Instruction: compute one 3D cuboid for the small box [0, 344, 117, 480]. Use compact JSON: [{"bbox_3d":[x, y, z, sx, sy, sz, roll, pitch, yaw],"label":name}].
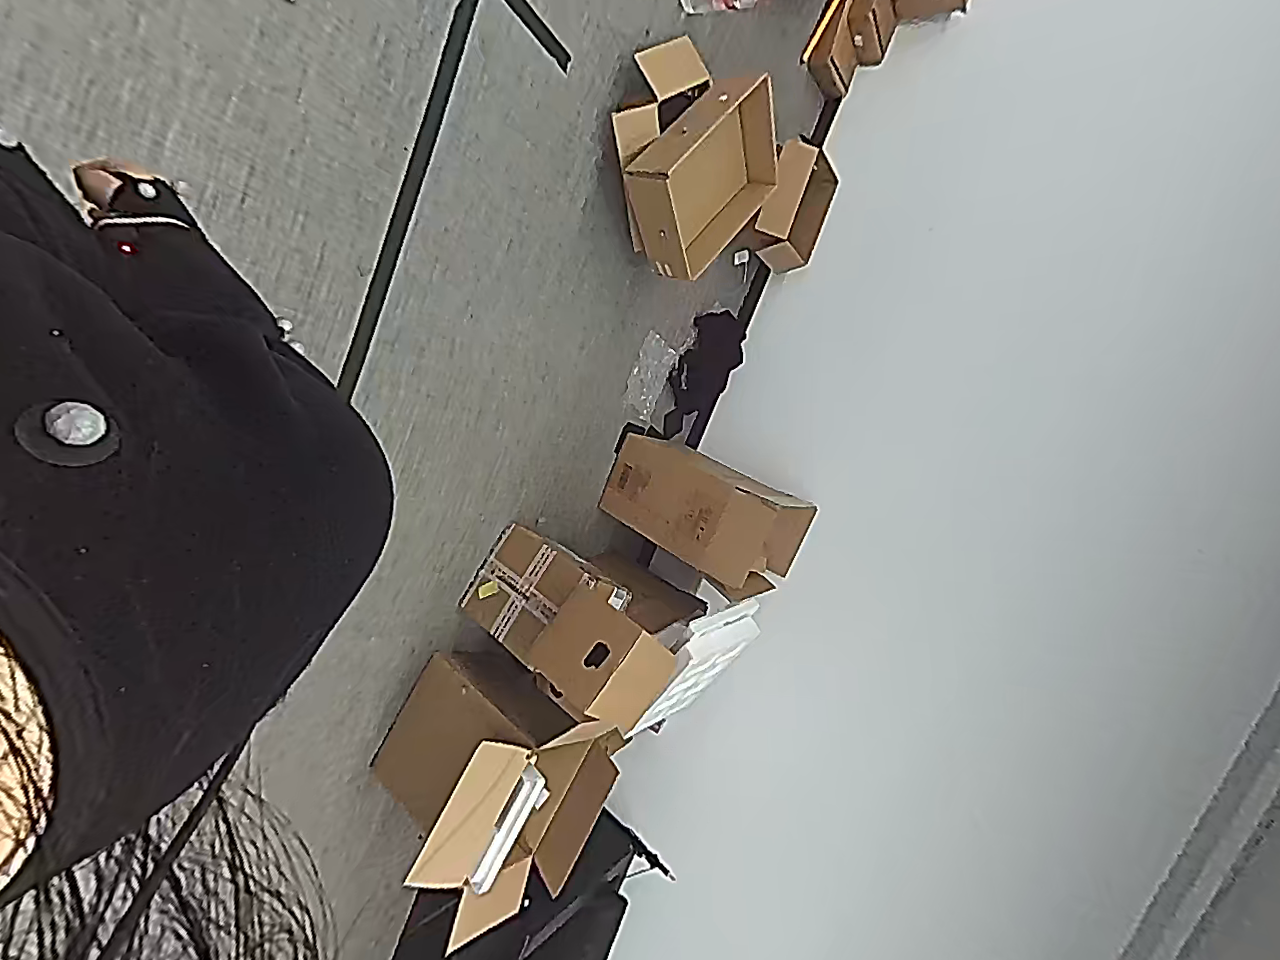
[{"bbox_3d":[-1.126,-0.135,0.988,0.168,0.176,0.179,-36,140,-36],"label":"small box"}]
